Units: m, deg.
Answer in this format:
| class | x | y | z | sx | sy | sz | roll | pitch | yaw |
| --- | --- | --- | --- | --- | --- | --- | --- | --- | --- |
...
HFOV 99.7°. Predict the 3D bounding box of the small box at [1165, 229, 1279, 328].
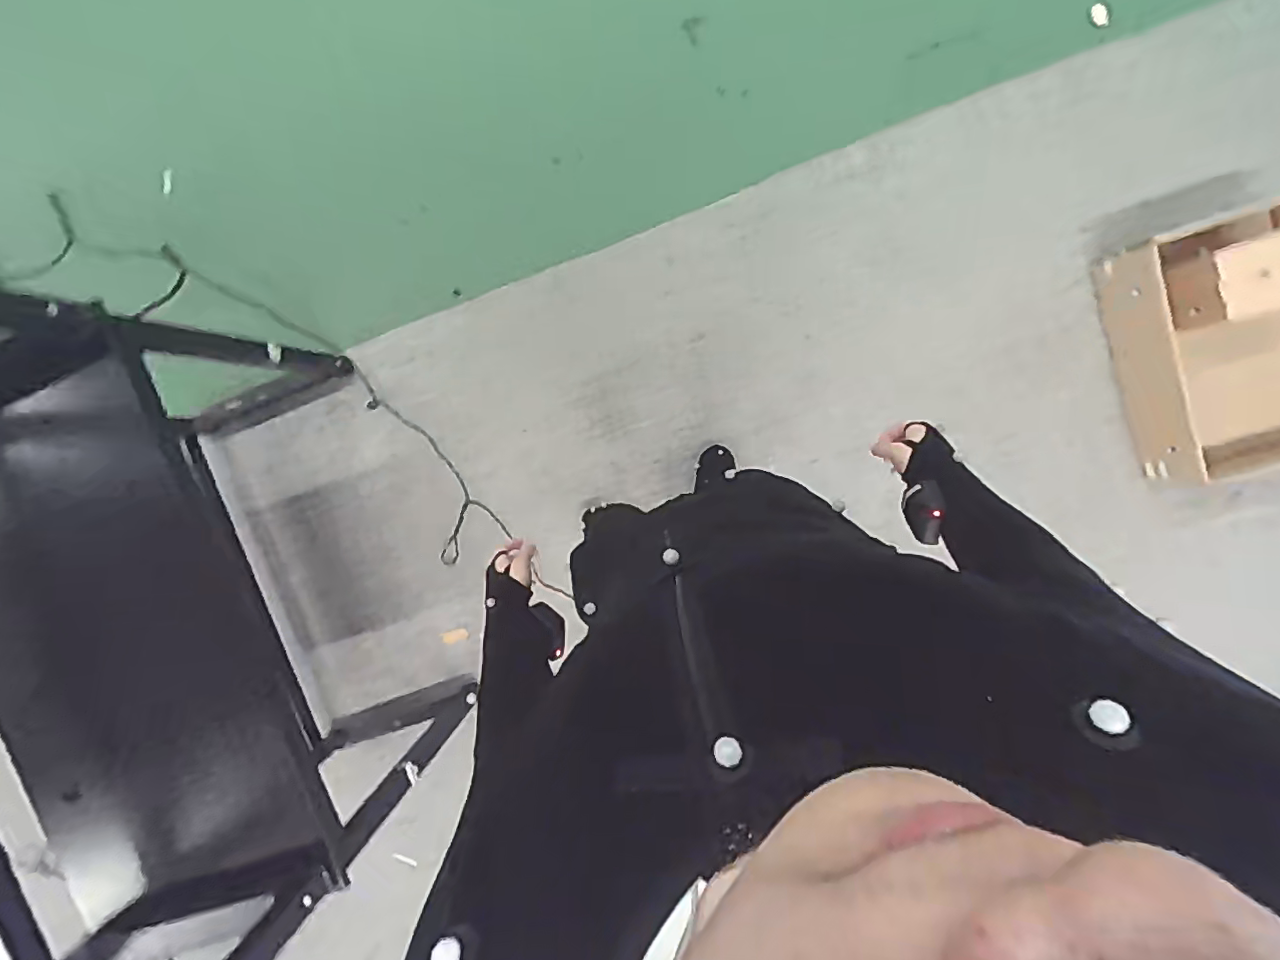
| class | x | y | z | sx | sy | sz | roll | pitch | yaw |
| --- | --- | --- | --- | --- | --- | --- | --- | --- | --- |
| small box | 1.420 | -0.478 | 1.295 | 0.179 | 0.176 | 0.168 | -18 | 95 | 7 |
